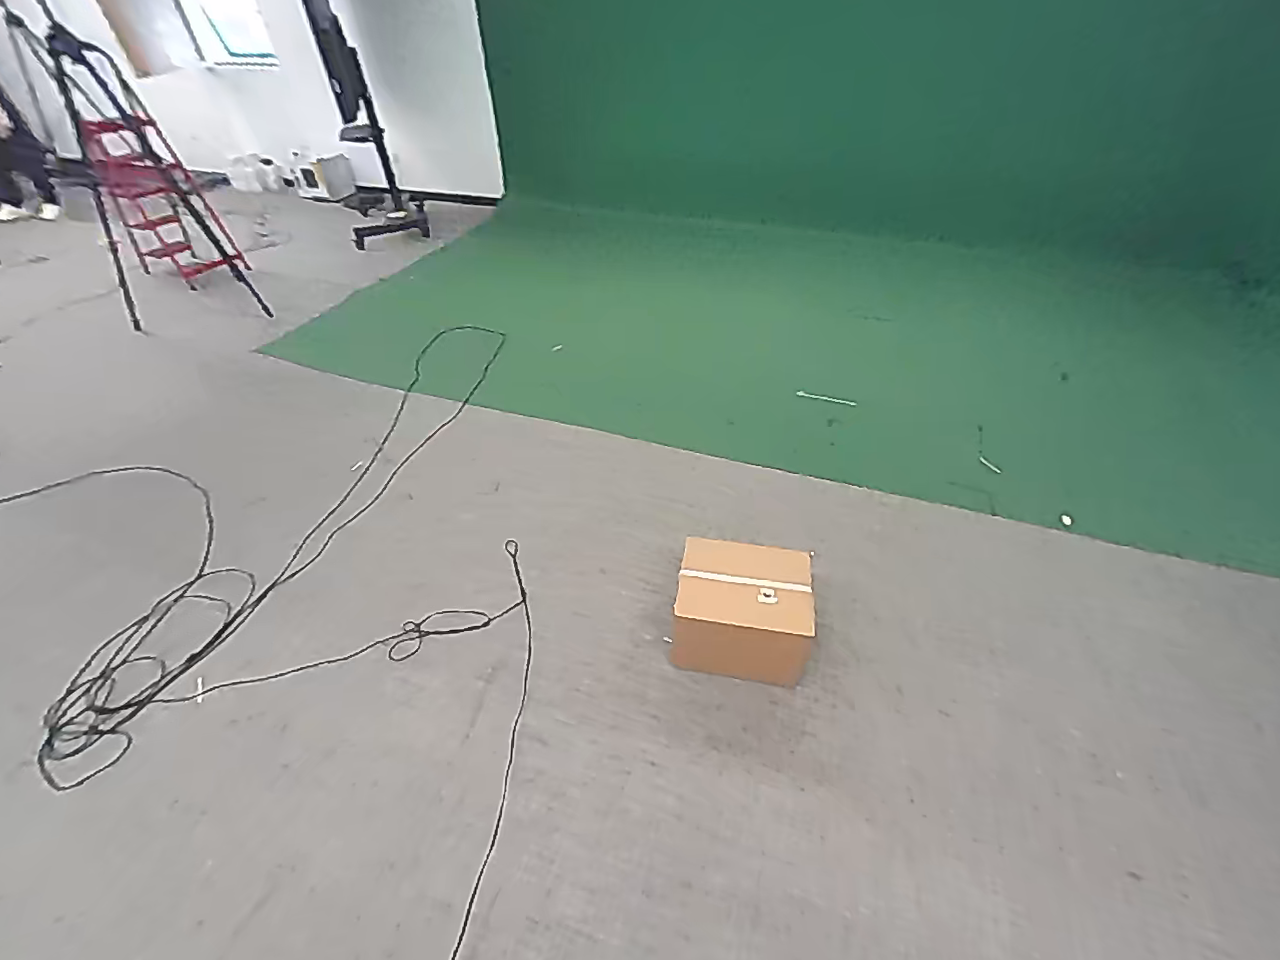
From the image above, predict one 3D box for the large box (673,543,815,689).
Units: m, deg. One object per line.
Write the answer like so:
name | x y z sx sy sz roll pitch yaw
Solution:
large box | 0.324 0.439 1.757 0.408 0.320 0.320 7 43 8
